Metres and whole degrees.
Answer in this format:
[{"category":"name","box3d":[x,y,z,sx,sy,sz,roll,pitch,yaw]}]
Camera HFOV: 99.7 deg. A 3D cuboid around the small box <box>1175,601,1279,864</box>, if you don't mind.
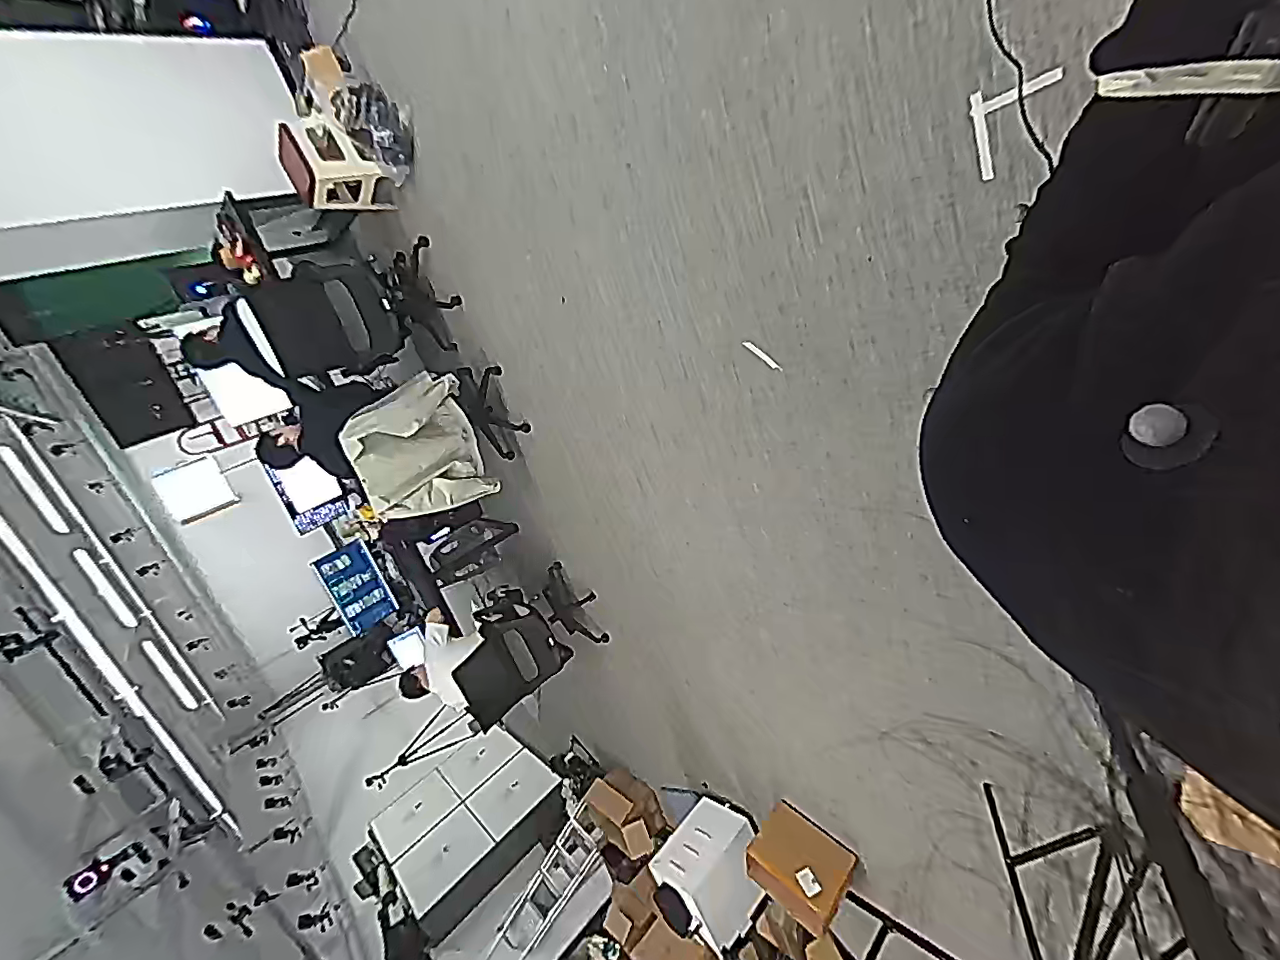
[{"category":"small box","box3d":[0.626,0.239,0.503,0.168,0.176,0.179,6,120,49]}]
